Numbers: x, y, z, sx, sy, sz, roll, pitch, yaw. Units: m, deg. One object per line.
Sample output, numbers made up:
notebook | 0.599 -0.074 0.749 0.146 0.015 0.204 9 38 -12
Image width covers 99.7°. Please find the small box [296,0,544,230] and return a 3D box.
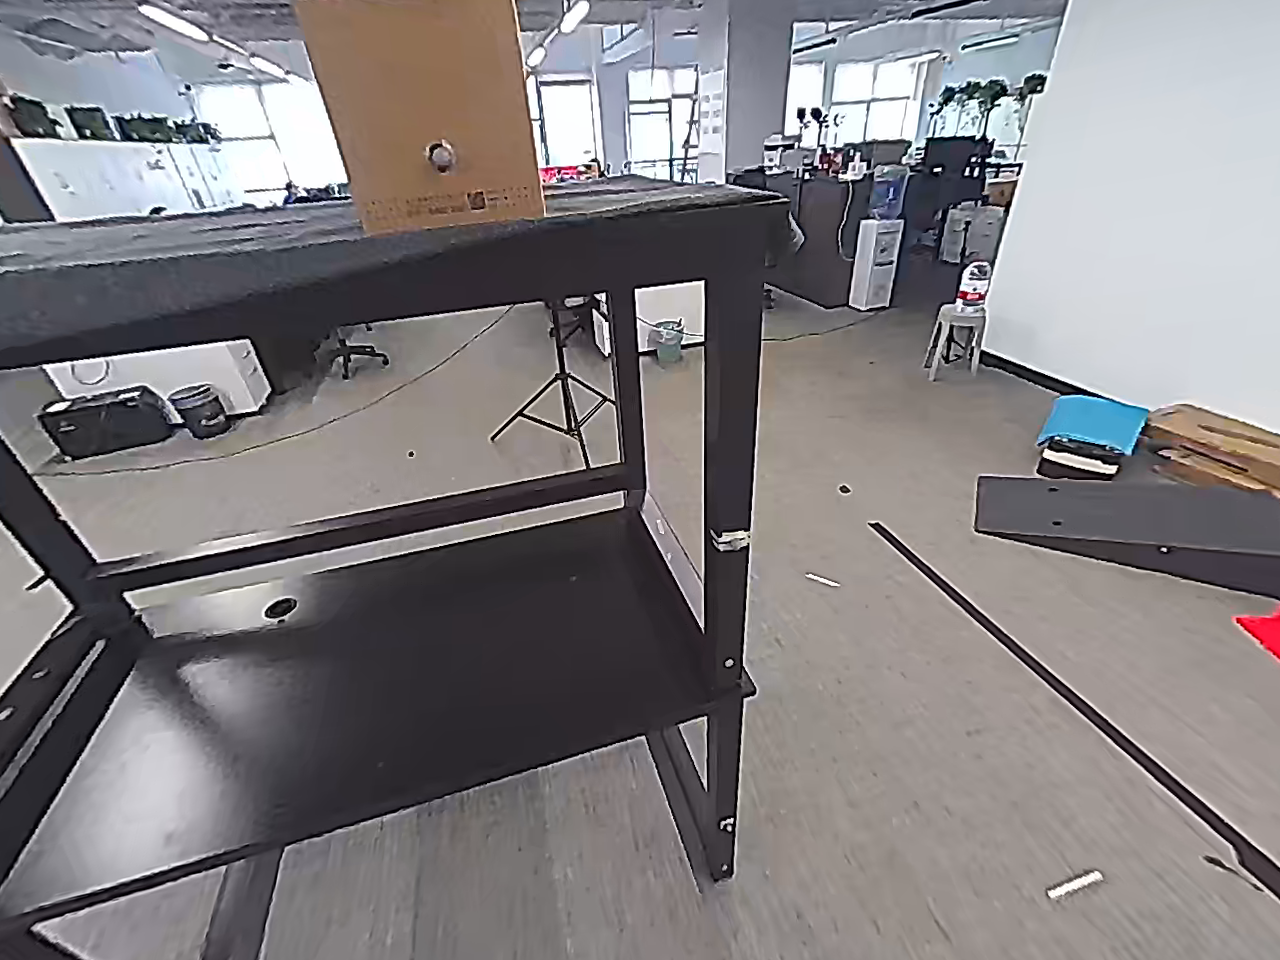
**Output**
small box | -0.195 -0.346 0.526 0.168 0.176 0.179 -12 32 -10
